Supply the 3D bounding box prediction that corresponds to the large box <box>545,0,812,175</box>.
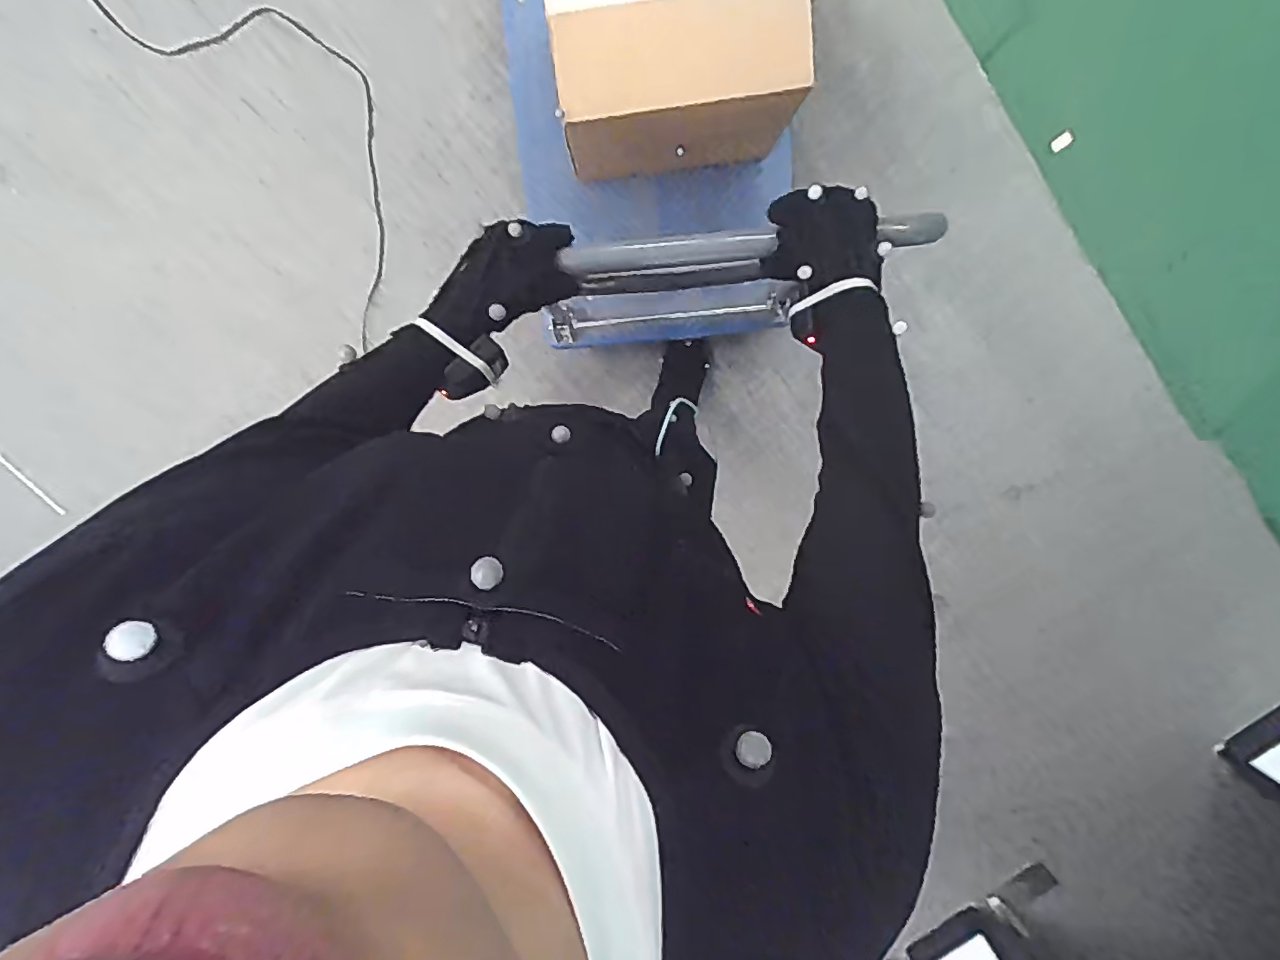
[{"bbox_3d":[0.052,-0.786,0.968,0.408,0.320,0.320,-8,103,1],"label":"large box"}]
